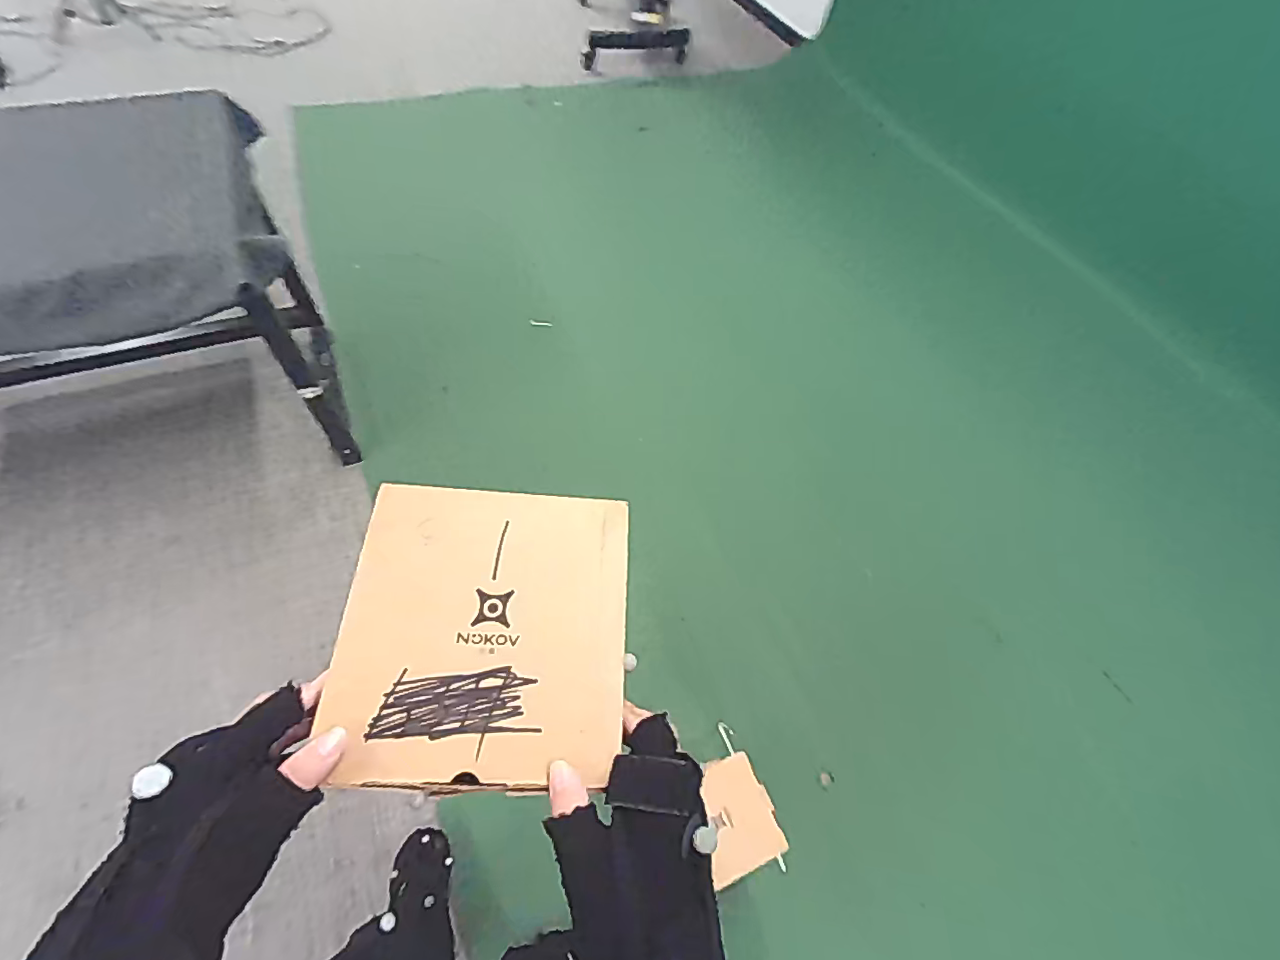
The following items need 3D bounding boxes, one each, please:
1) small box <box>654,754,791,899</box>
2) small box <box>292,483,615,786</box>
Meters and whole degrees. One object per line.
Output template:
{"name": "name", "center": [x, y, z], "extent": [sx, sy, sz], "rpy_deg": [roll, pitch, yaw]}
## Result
{"name": "small box", "center": [0.141, 0.630, 0.997], "extent": [0.179, 0.176, 0.168], "rpy_deg": [-17, 60, -17]}
{"name": "small box", "center": [-0.109, 0.122, 0.396], "extent": [0.168, 0.176, 0.179], "rpy_deg": [4, 60, -7]}
